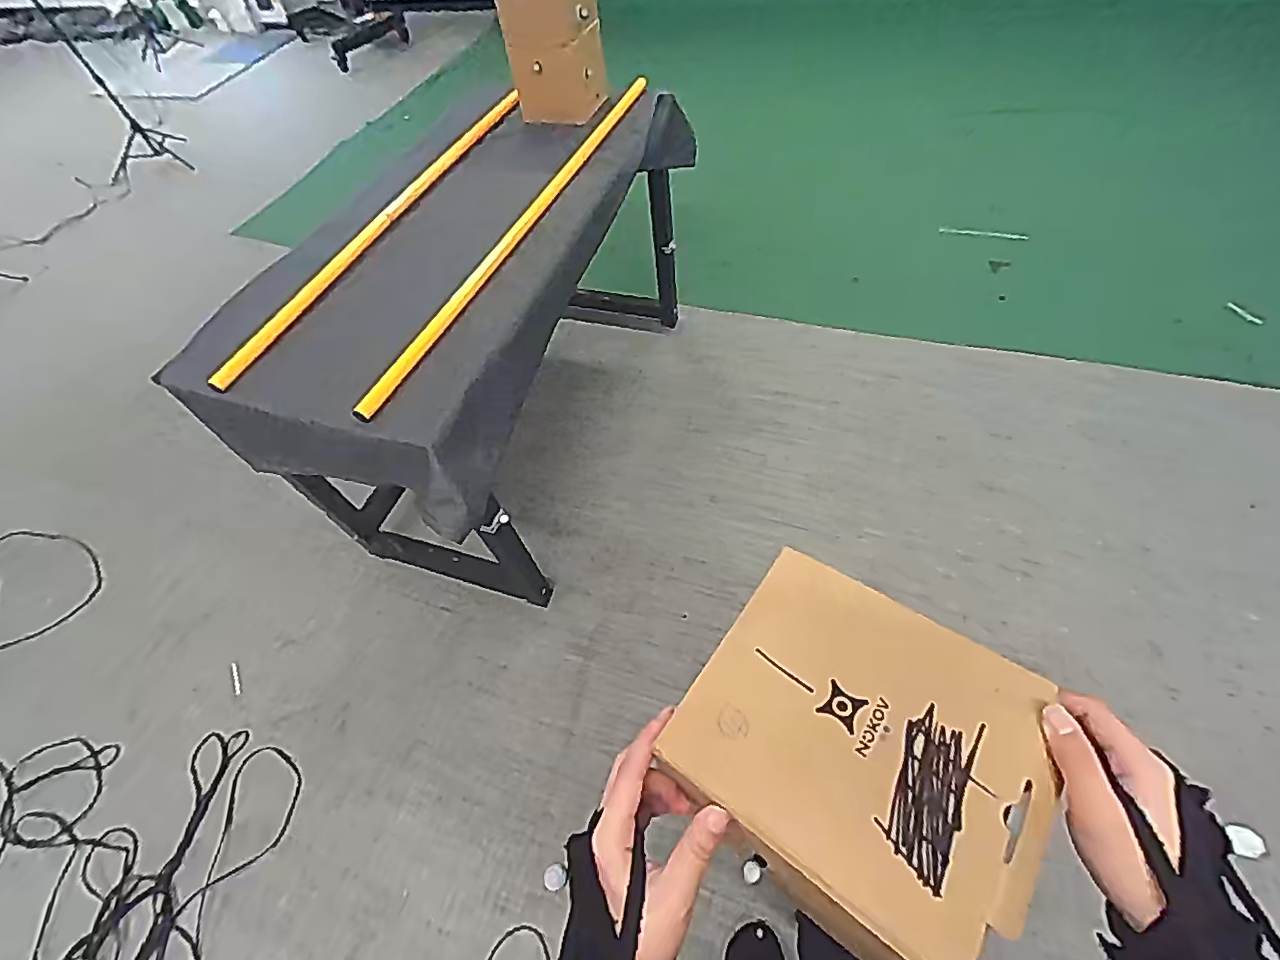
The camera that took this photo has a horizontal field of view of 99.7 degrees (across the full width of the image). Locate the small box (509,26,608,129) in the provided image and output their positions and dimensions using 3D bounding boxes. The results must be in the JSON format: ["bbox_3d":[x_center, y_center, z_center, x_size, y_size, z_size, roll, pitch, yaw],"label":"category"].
[{"bbox_3d":[-0.196,-1.013,1.364,0.179,0.176,0.168,14,60,17],"label":"small box"}]

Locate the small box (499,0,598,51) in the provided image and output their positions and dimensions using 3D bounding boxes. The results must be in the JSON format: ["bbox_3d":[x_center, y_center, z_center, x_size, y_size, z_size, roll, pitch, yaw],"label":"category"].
[{"bbox_3d":[-0.214,-1.109,1.233,0.179,0.176,0.168,13,60,16],"label":"small box"}]
